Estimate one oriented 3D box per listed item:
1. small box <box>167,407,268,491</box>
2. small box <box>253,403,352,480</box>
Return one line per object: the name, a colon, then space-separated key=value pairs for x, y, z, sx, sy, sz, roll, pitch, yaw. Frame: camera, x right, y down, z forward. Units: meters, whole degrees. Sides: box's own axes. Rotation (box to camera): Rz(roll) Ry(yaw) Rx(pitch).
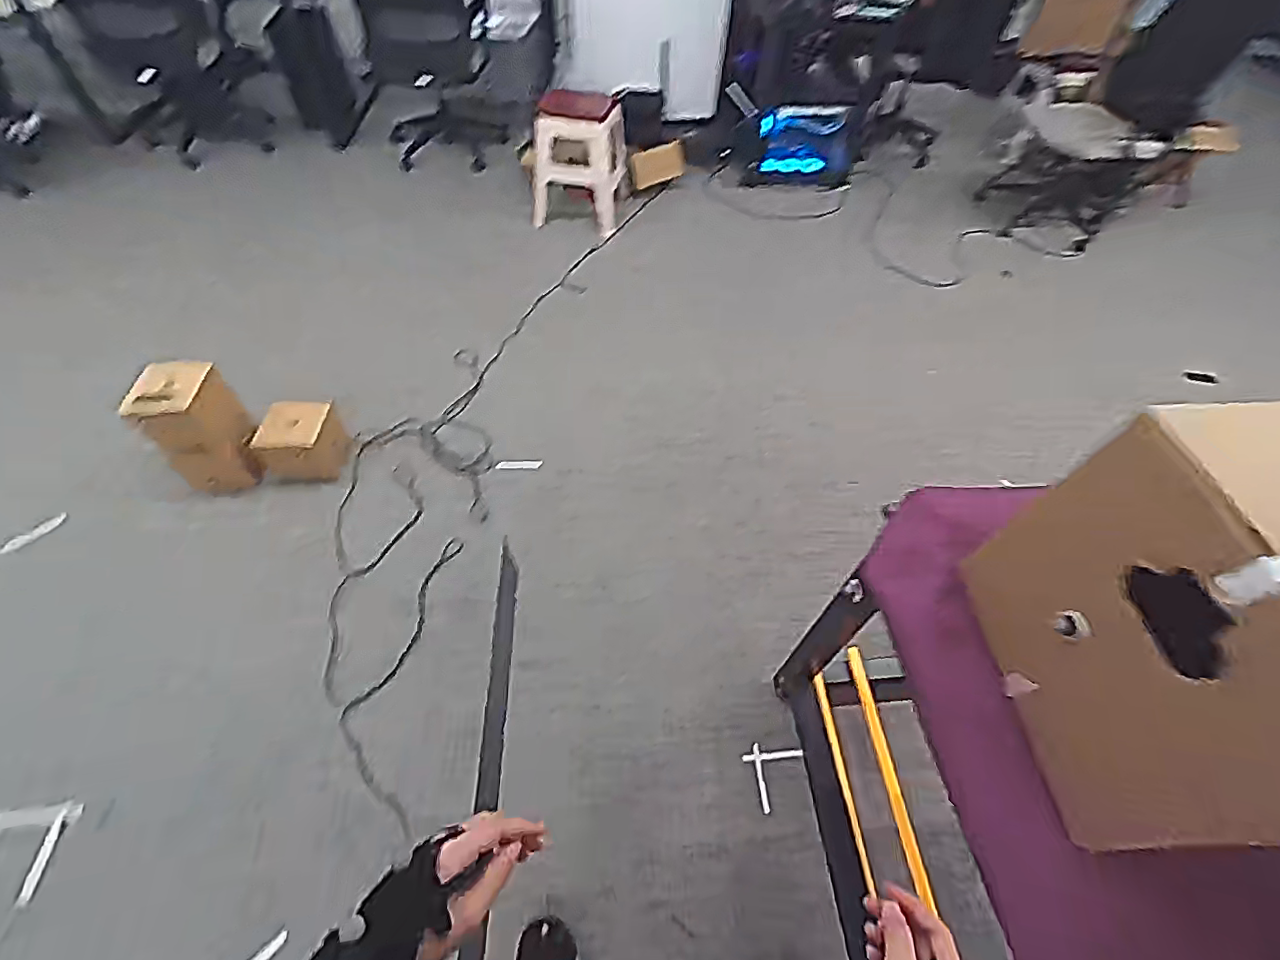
small box: x=-1.225 y=-0.091 z=1.591 sx=0.168 sy=0.176 sz=0.179 roll=-7 pitch=54 yaw=-8
small box: x=-0.994 y=-0.113 z=1.615 sx=0.179 sy=0.176 sz=0.168 roll=-1 pitch=52 yaw=-3
